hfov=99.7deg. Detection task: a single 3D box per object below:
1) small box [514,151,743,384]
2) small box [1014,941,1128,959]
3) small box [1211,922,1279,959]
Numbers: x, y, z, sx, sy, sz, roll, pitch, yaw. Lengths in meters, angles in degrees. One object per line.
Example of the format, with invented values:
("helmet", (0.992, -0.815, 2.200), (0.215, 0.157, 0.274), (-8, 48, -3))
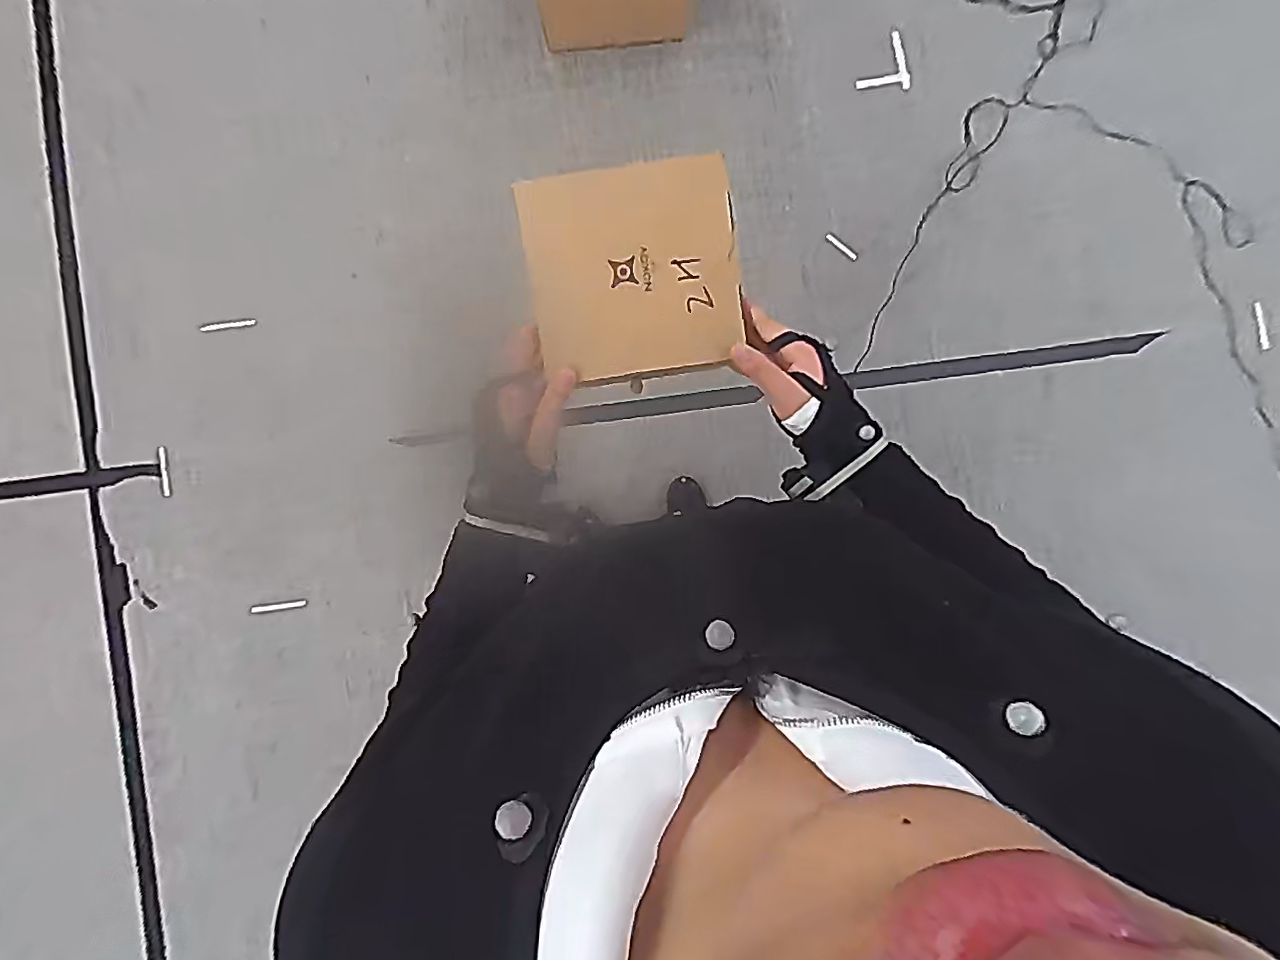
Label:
("small box", (-0.008, -0.188, 0.530), (0.179, 0.176, 0.168), (-8, 99, 0))
("small box", (0.613, 0.747, 0.684), (0.168, 0.176, 0.179), (-10, 87, -1))
("small box", (0.898, 0.709, 0.689), (0.168, 0.176, 0.179), (-11, 89, 0))
